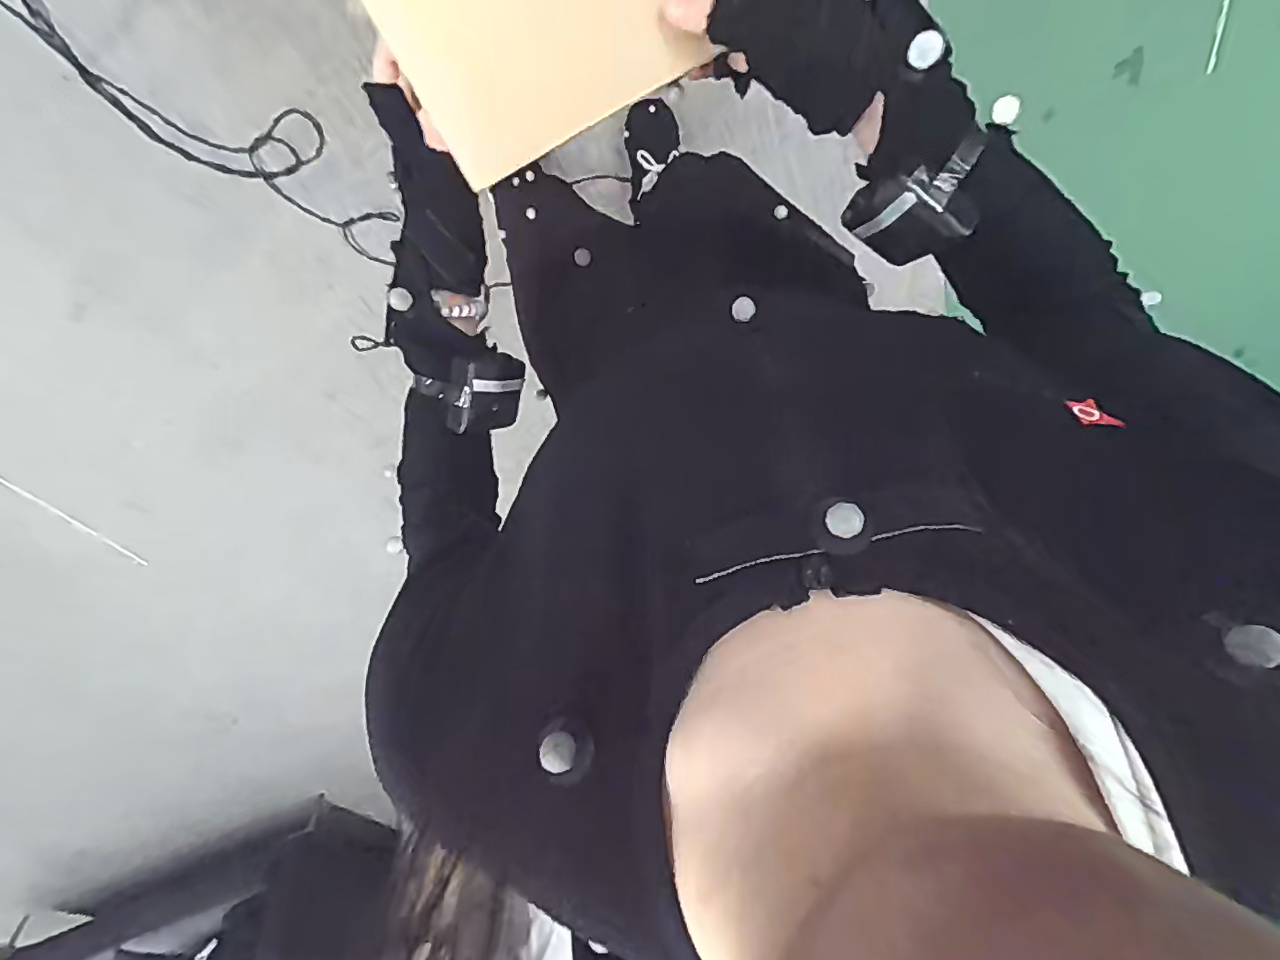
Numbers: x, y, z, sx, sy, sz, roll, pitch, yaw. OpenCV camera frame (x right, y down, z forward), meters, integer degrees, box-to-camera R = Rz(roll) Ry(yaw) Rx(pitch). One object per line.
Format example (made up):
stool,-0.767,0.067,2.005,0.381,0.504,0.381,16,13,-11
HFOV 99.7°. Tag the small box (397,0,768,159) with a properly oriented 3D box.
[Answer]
small box,-0.056,-0.310,0.309,0.179,0.176,0.168,-28,125,3
